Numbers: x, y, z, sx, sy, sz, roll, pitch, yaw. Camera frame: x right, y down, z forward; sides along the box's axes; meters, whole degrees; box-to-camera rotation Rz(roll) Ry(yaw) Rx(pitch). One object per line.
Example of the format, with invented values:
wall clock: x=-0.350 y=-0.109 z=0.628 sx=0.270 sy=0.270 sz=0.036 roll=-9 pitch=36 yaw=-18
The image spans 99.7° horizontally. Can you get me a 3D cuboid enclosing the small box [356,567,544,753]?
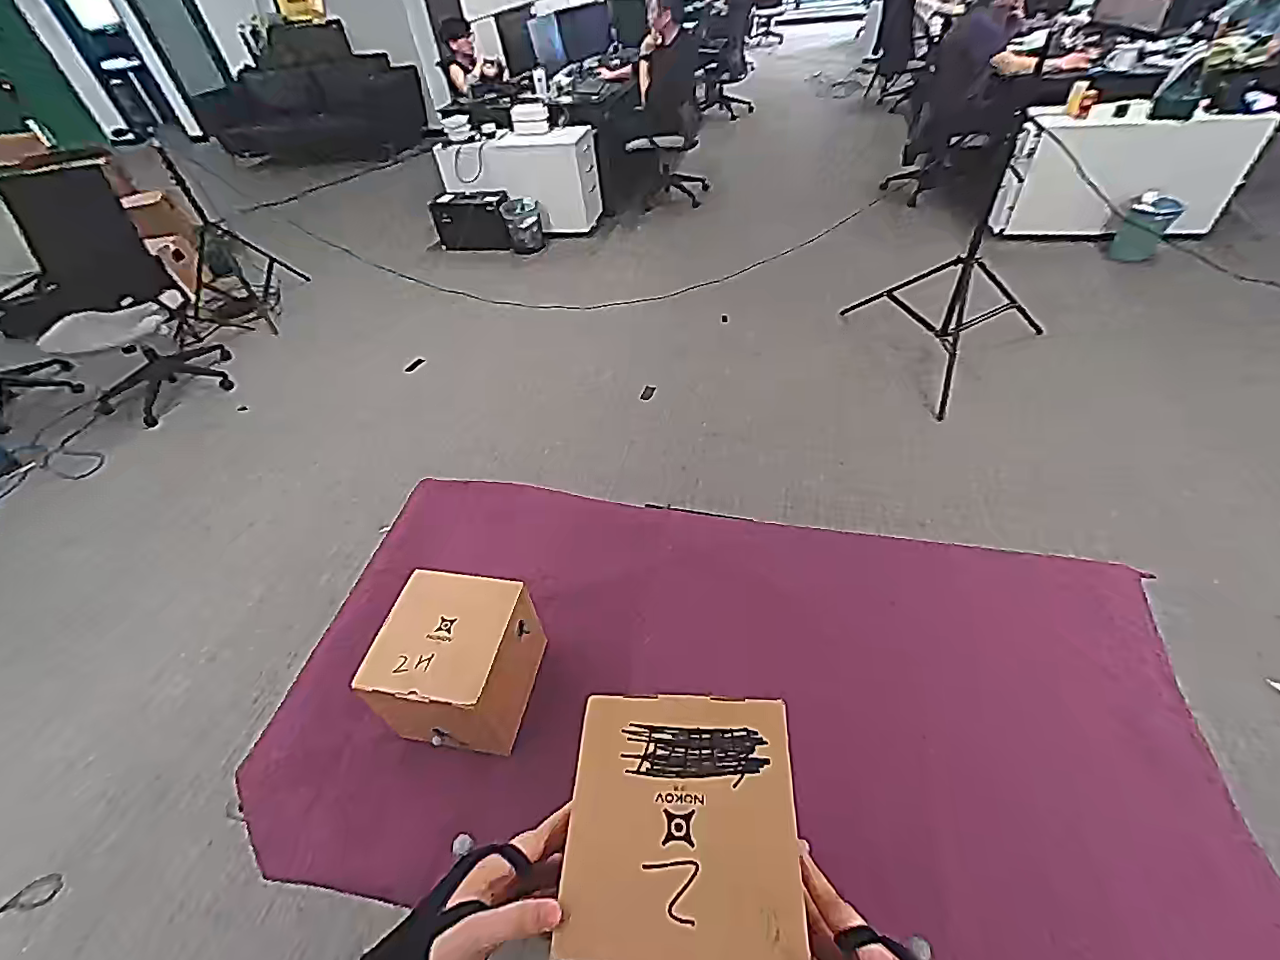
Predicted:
small box: x=-0.241 y=0.246 z=0.743 sx=0.168 sy=0.176 sz=0.179 roll=5 pitch=47 yaw=10
